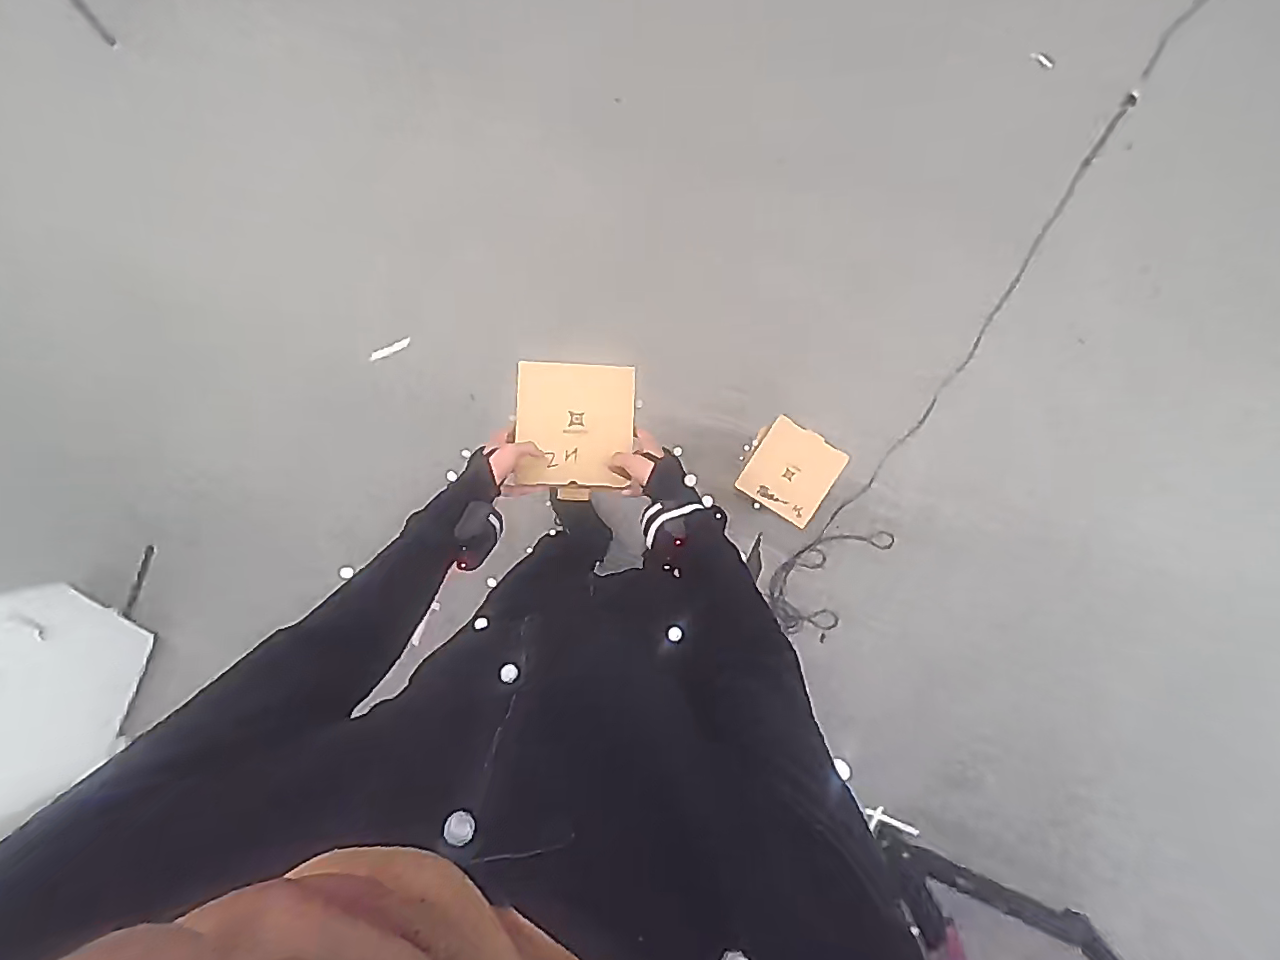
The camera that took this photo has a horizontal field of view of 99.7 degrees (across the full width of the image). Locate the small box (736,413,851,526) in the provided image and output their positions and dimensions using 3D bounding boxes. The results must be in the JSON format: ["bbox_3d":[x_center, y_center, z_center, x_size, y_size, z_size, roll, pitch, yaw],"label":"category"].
[{"bbox_3d":[0.318,-0.021,1.168,0.168,0.176,0.179,33,93,6],"label":"small box"}]

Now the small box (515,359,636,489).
[{"bbox_3d":[-0.100,-0.078,0.838,0.168,0.176,0.179,2,89,-6],"label":"small box"}]
